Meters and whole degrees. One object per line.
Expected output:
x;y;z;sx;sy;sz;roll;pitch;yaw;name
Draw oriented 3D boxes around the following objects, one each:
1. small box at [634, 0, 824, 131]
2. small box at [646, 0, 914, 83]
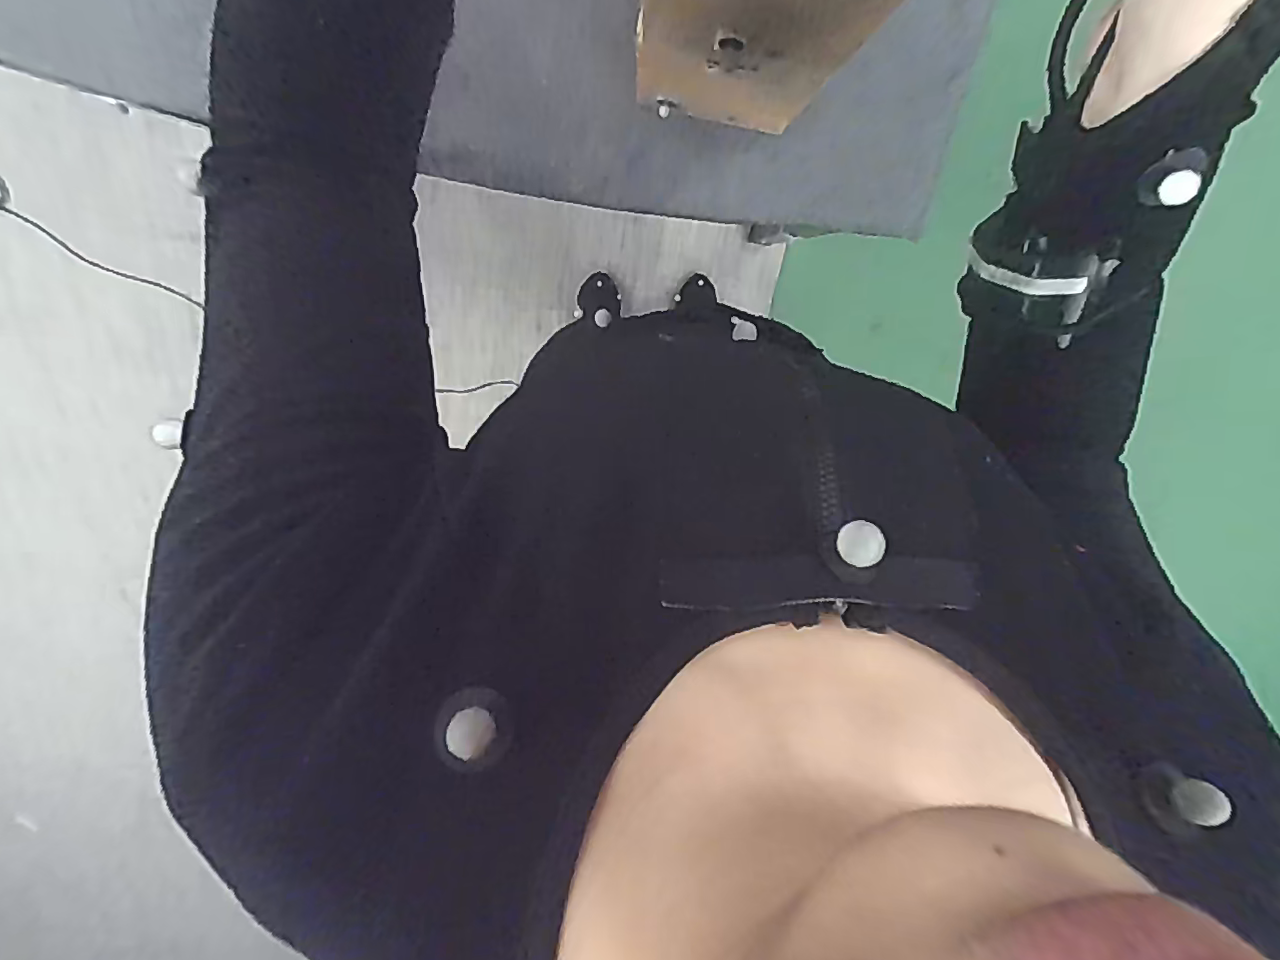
0.091;-0.447;0.490;0.168;0.176;0.179;9;108;-4;small box
0.092;-0.390;0.338;0.168;0.176;0.179;6;109;-1;small box
